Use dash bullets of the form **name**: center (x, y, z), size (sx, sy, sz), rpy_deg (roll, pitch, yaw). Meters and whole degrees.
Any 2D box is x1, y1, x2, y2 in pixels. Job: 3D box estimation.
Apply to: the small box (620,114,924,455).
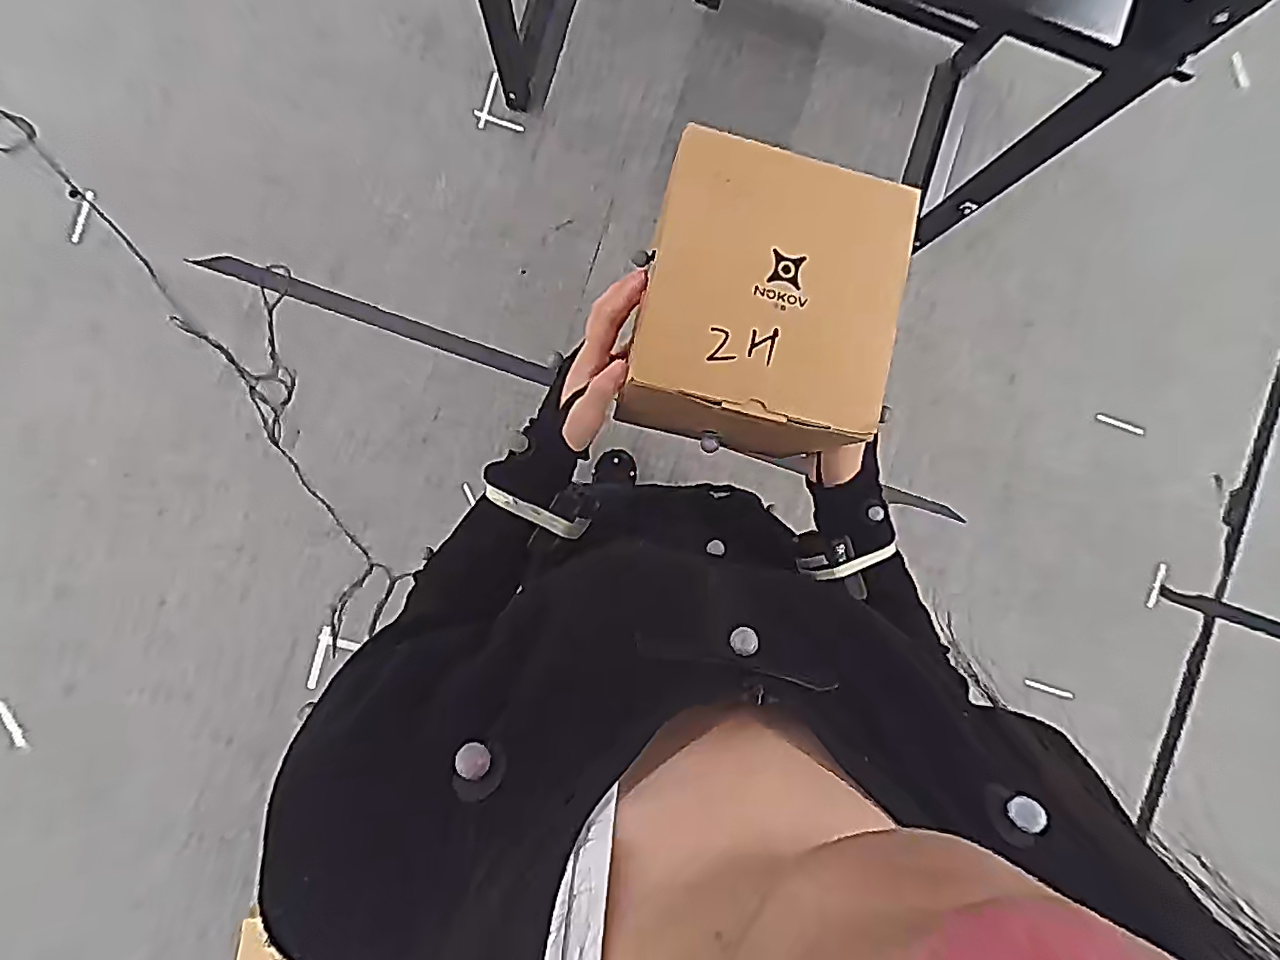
- **small box**: center (0.082, -0.126, 0.422), size (0.168, 0.176, 0.179), rpy_deg (13, 87, -6)
